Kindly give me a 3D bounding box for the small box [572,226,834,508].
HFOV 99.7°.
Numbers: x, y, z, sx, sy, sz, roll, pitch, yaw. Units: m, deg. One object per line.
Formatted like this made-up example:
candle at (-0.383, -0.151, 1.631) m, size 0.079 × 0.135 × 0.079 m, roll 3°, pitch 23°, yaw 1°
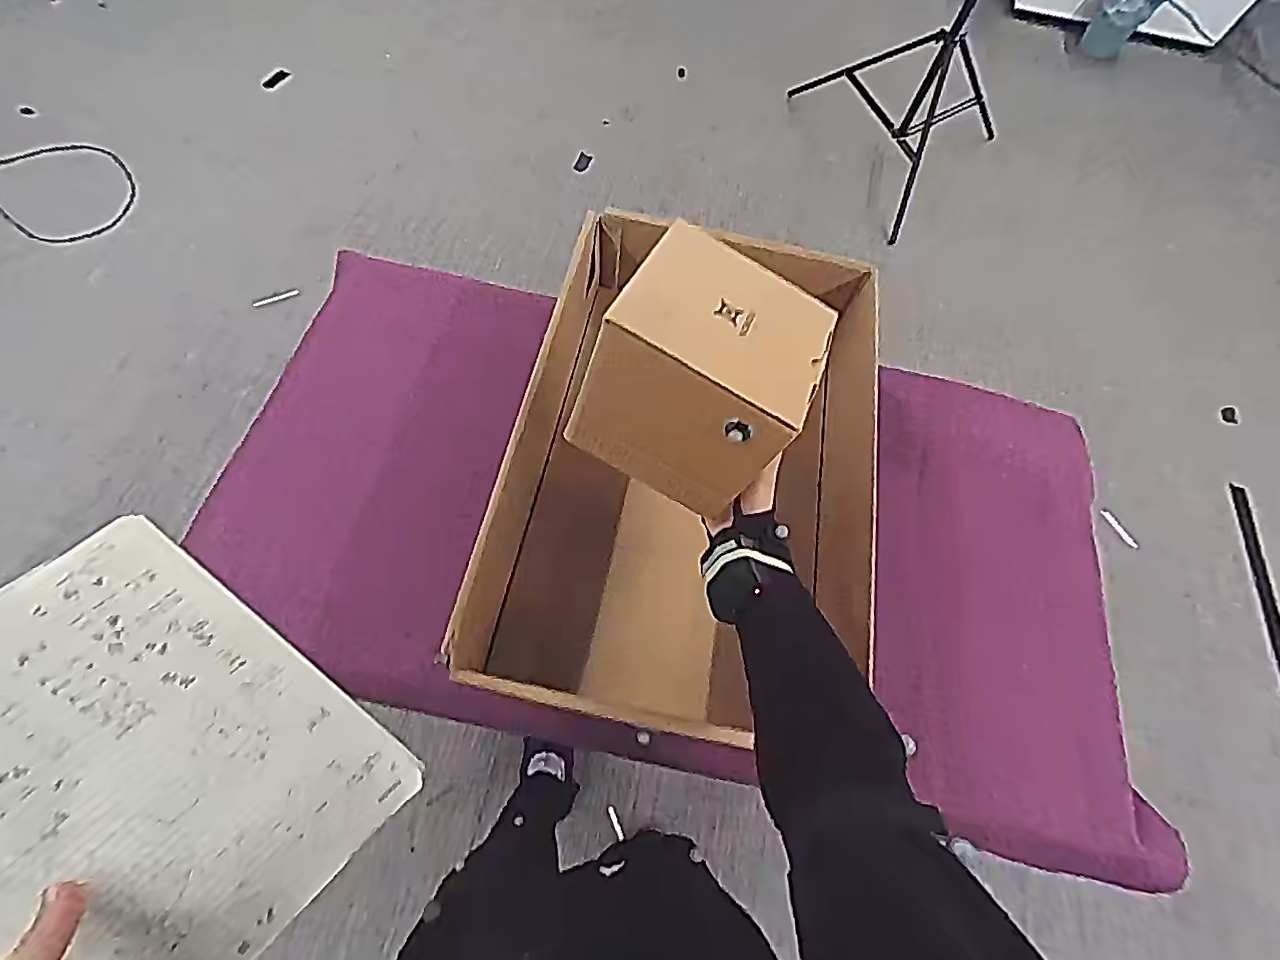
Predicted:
small box at (0.053, -0.099, 0.525) m, size 0.179 × 0.176 × 0.168 m, roll 30°, pitch 55°, yaw -2°
